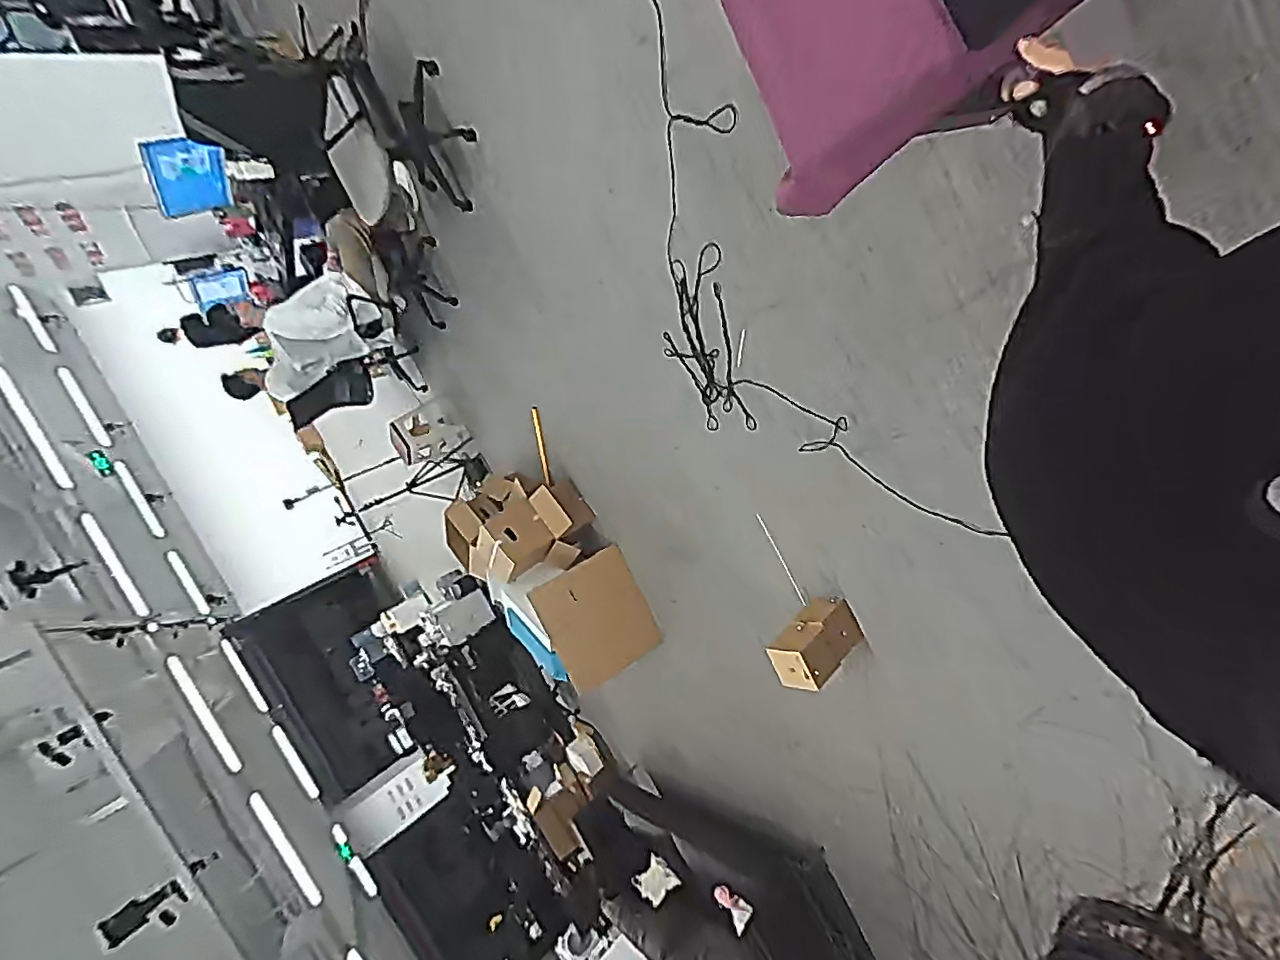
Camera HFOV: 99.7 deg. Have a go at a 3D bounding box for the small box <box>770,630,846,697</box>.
[{"bbox_3d":[0.628,0.676,2.013,0.179,0.176,0.168,-19,99,58],"label":"small box"}]

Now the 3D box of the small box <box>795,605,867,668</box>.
[{"bbox_3d":[0.744,0.602,2.102,0.168,0.176,0.179,-22,97,58],"label":"small box"}]
